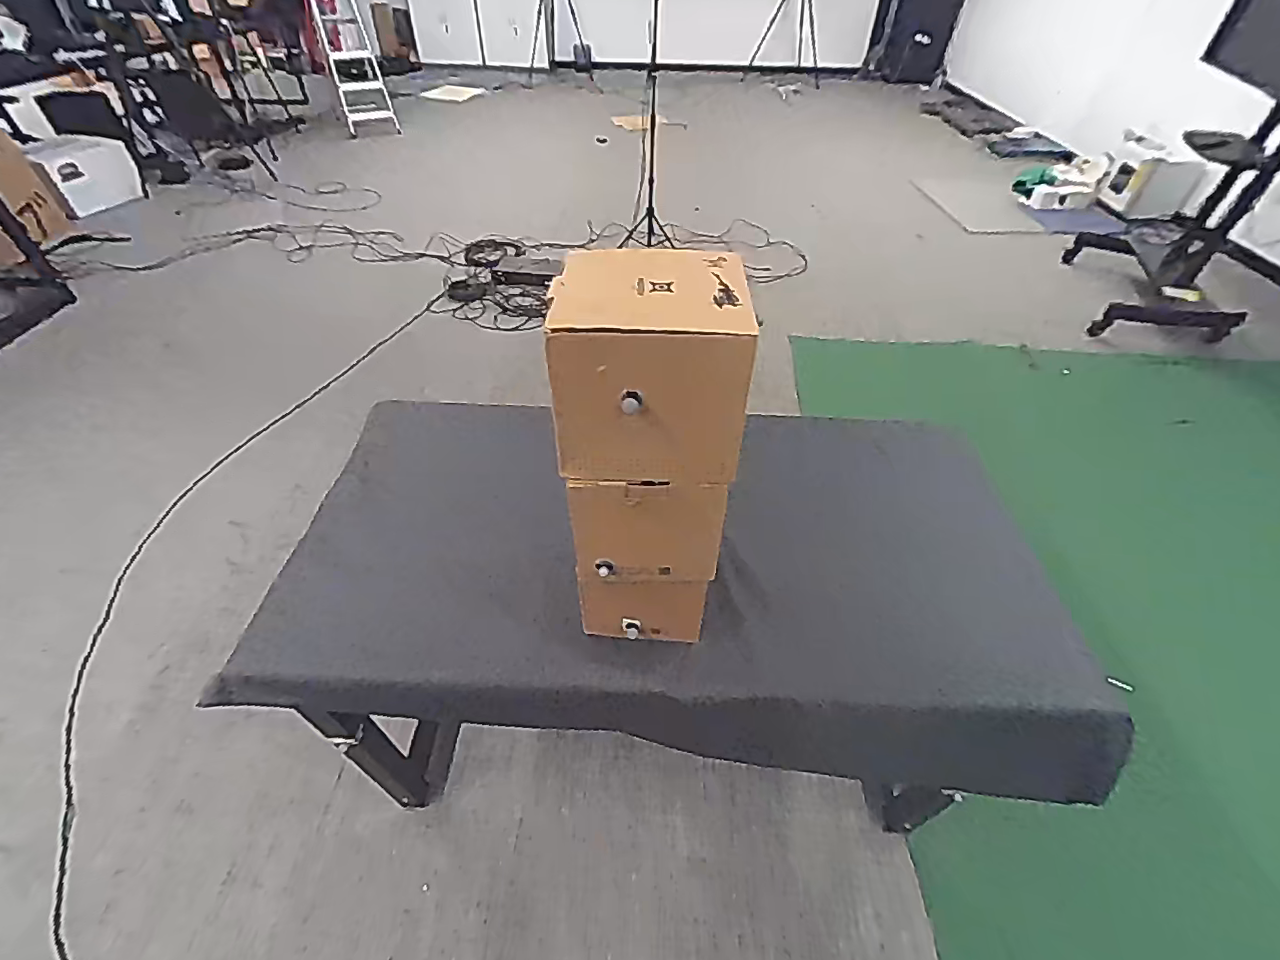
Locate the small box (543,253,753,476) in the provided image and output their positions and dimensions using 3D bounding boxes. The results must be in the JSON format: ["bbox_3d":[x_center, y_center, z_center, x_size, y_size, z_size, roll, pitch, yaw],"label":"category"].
[{"bbox_3d":[0.007,-0.117,0.551,0.179,0.176,0.168,-1,43,-1],"label":"small box"}]

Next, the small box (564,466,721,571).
[{"bbox_3d":[0.005,-0.002,0.664,0.168,0.176,0.179,-1,44,0],"label":"small box"}]

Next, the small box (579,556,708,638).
[{"bbox_3d":[0.009,0.107,0.787,0.168,0.176,0.179,2,46,3],"label":"small box"}]
